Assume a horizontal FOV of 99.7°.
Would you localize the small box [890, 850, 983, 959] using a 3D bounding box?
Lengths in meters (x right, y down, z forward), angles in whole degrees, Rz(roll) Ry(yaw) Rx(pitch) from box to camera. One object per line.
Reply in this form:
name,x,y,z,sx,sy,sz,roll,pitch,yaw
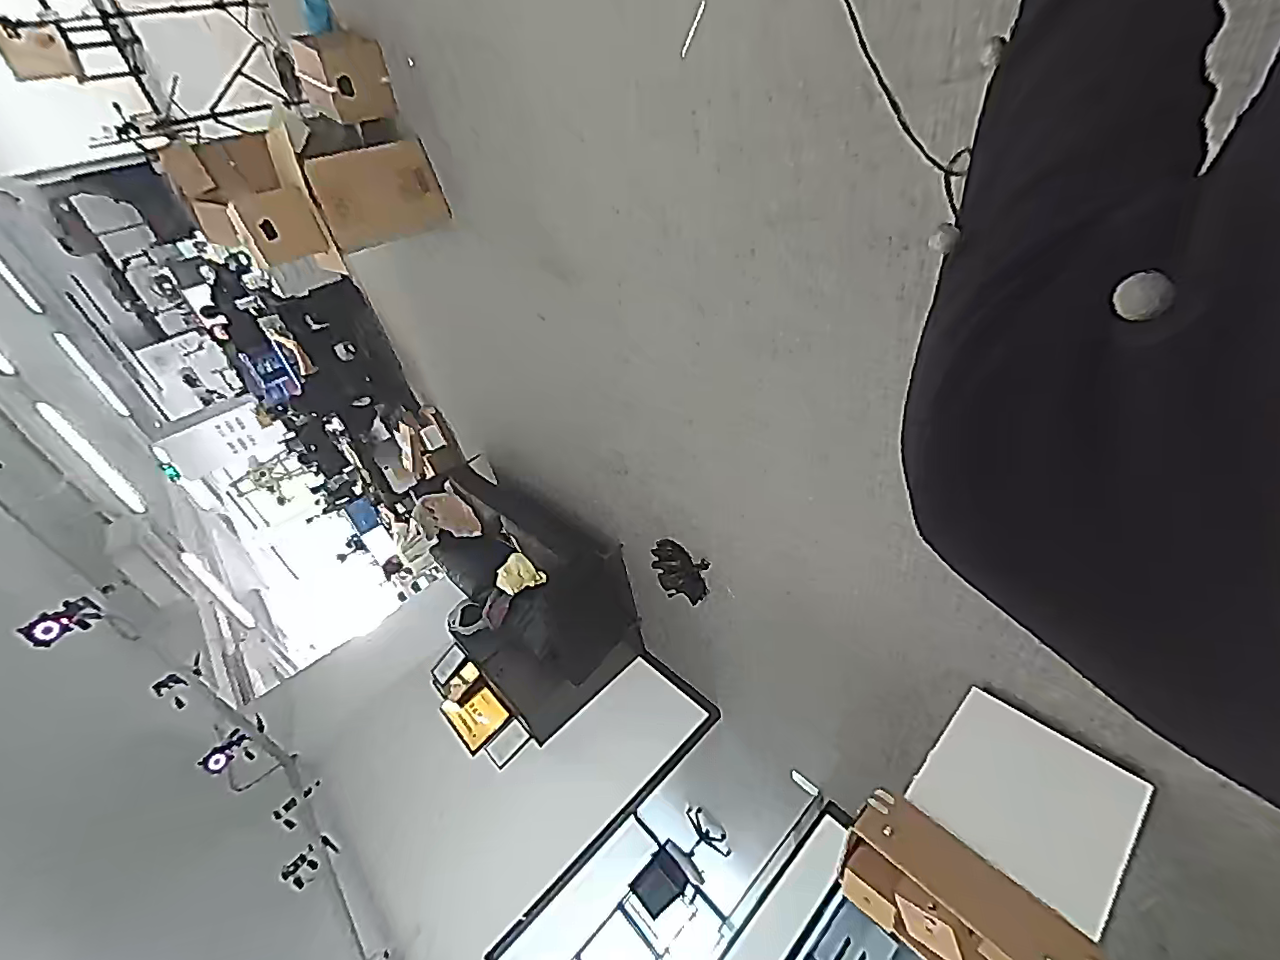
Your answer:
small box,0.862,1.235,1.565,0.168,0.176,0.179,-4,113,54
